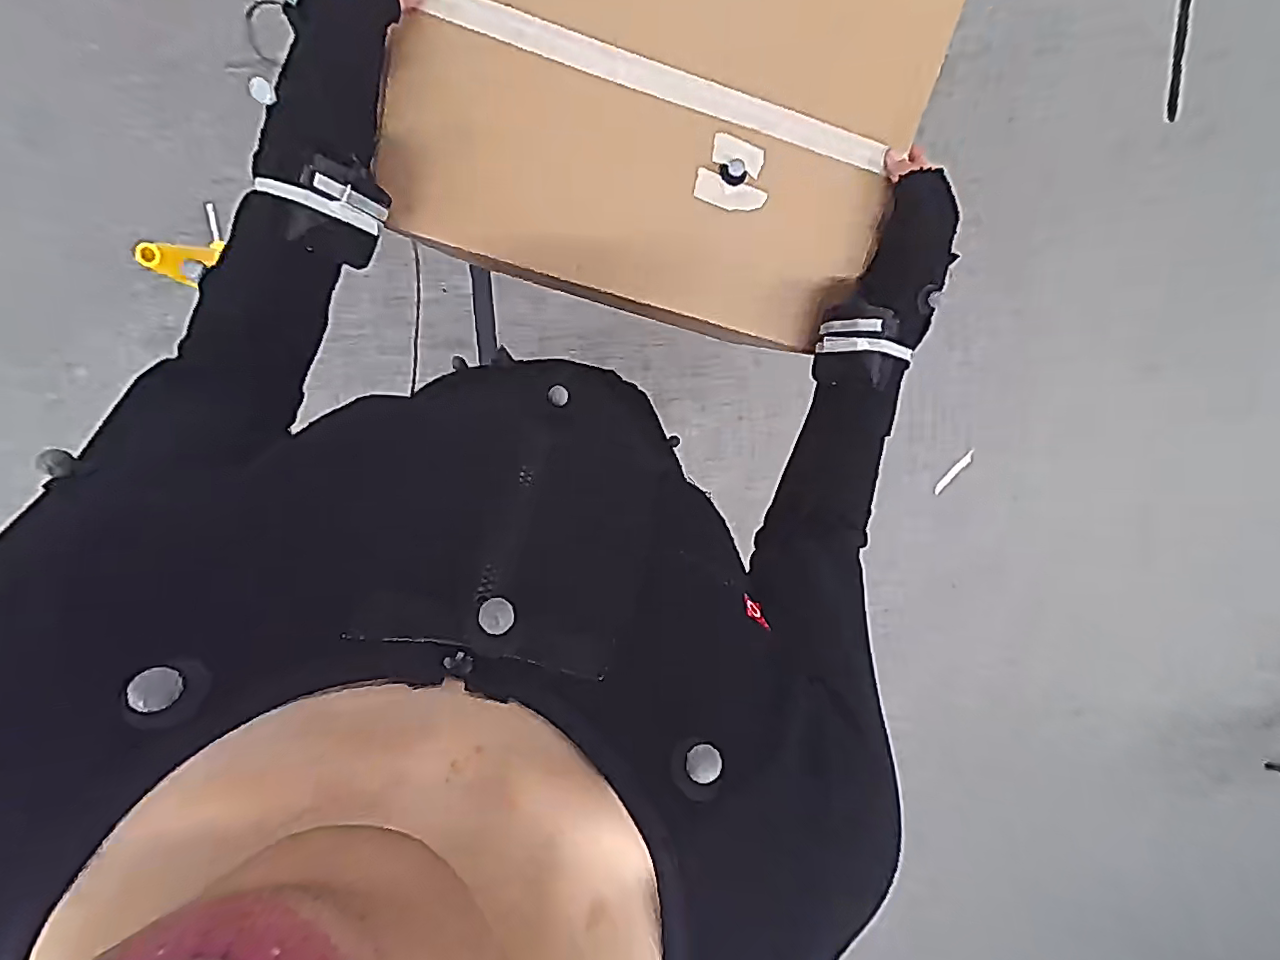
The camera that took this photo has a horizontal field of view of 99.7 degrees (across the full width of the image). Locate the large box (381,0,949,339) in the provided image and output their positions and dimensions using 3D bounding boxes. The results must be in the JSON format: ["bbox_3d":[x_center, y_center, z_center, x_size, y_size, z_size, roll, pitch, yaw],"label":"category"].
[{"bbox_3d":[0.005,-0.348,0.559,0.408,0.320,0.320,13,105,-10],"label":"large box"}]
